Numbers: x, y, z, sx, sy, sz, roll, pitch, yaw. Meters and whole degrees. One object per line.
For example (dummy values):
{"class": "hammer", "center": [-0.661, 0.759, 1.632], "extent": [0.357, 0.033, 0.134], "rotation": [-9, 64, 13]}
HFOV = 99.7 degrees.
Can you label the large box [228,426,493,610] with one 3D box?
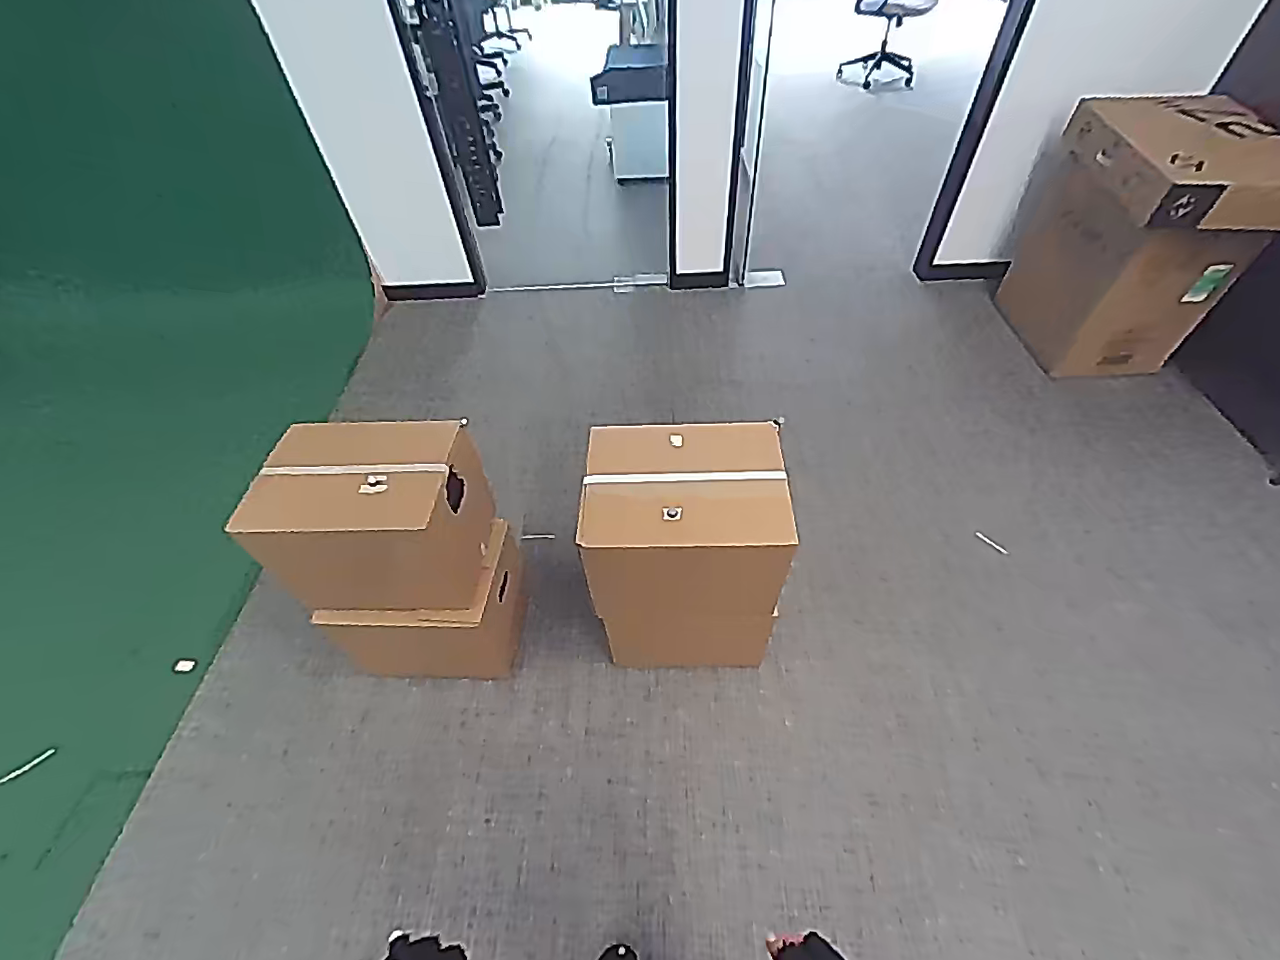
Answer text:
{"class": "large box", "center": [-0.597, 0.089, 1.250], "extent": [0.408, 0.320, 0.320], "rotation": [0, 47, 2]}
